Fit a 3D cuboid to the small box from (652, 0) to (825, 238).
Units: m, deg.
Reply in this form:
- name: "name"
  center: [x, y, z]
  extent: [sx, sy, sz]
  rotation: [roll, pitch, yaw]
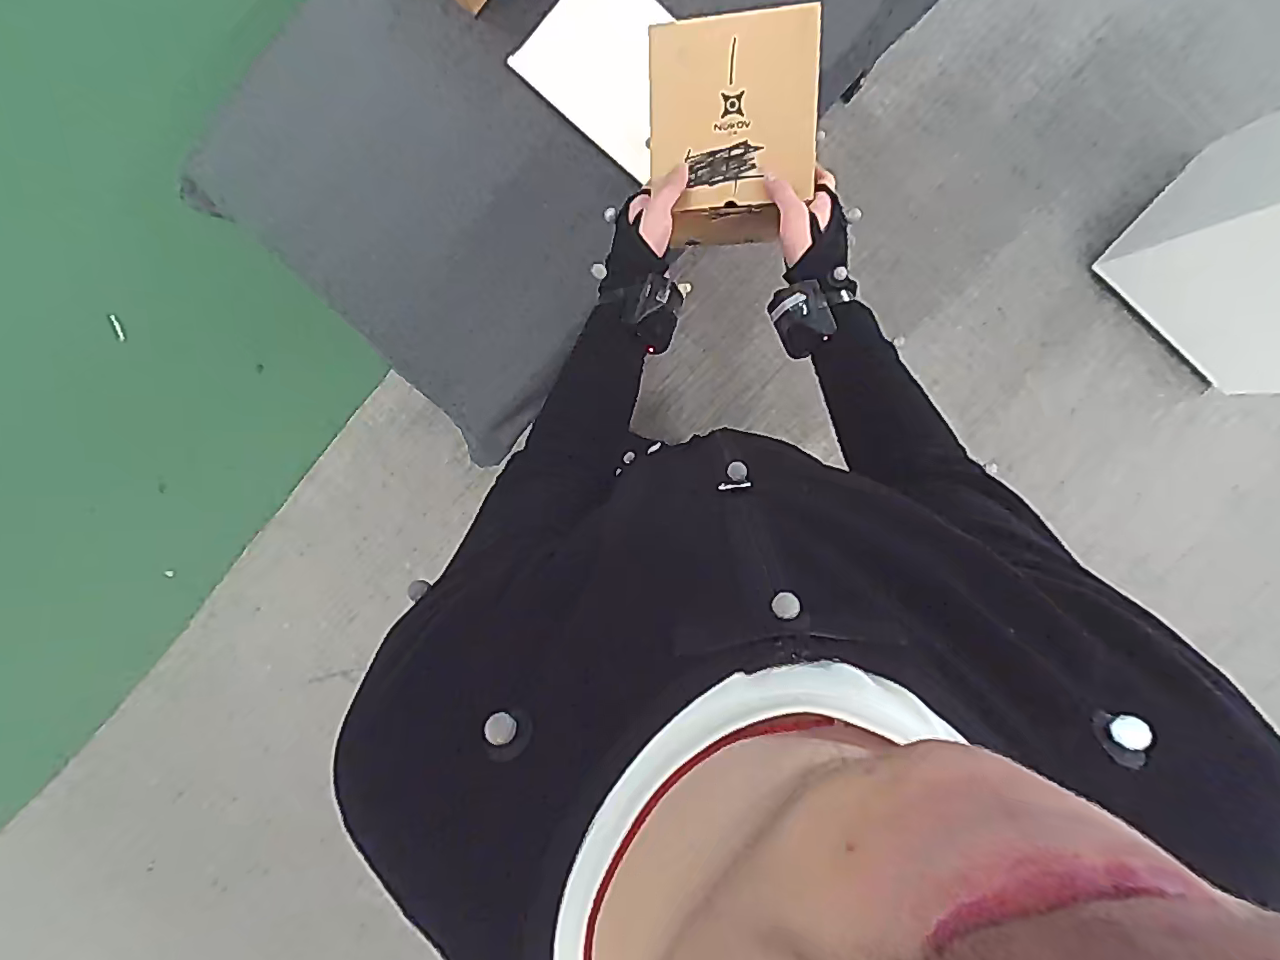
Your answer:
- name: "small box"
  center: [0.107, -0.381, 0.610]
  extent: [0.168, 0.176, 0.179]
  rotation: [1, 102, 9]
